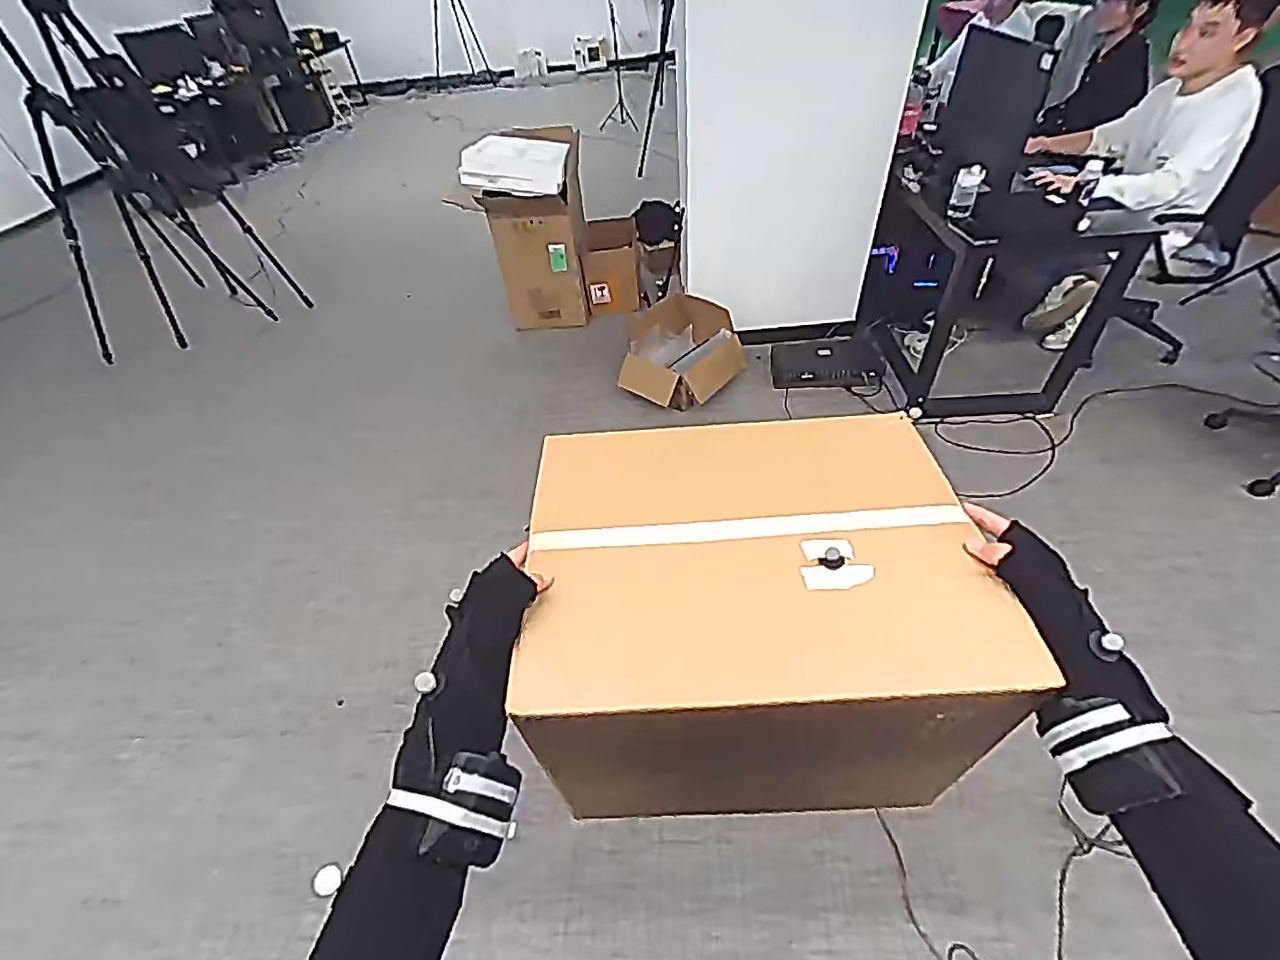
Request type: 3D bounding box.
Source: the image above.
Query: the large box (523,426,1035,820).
[{"bbox_3d":[0.108,0.165,0.621,0.408,0.320,0.320,-4,45,2],"label":"large box"}]
